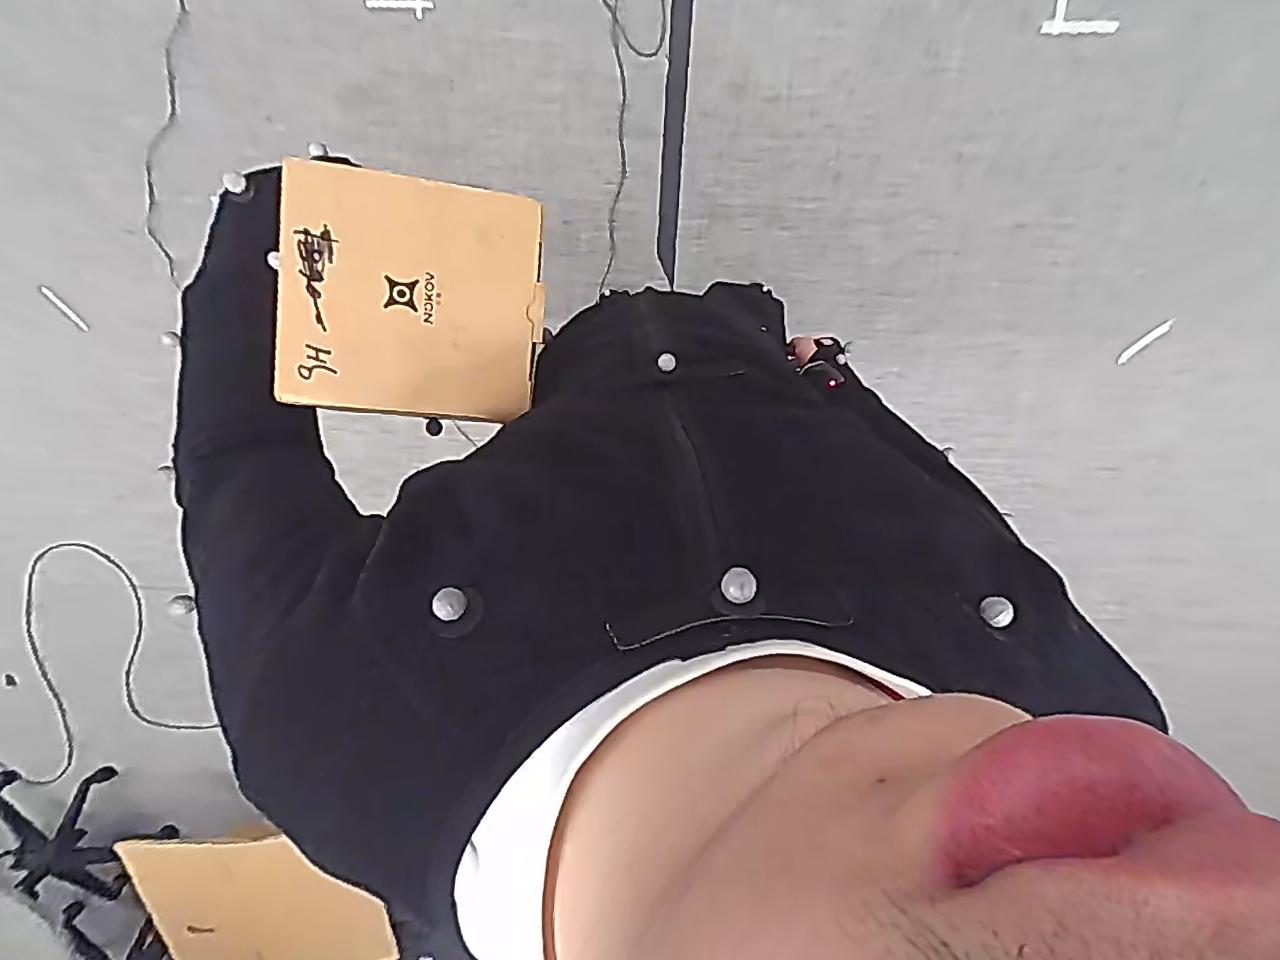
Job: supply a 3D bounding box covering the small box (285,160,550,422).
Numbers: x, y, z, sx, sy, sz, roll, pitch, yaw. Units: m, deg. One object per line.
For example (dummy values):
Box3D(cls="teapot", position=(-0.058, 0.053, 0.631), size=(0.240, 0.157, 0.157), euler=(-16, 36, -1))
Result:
Box3D(cls="small box", position=(-0.179, -0.140, 0.472), size=(0.179, 0.176, 0.168), euler=(4, 93, -14))
